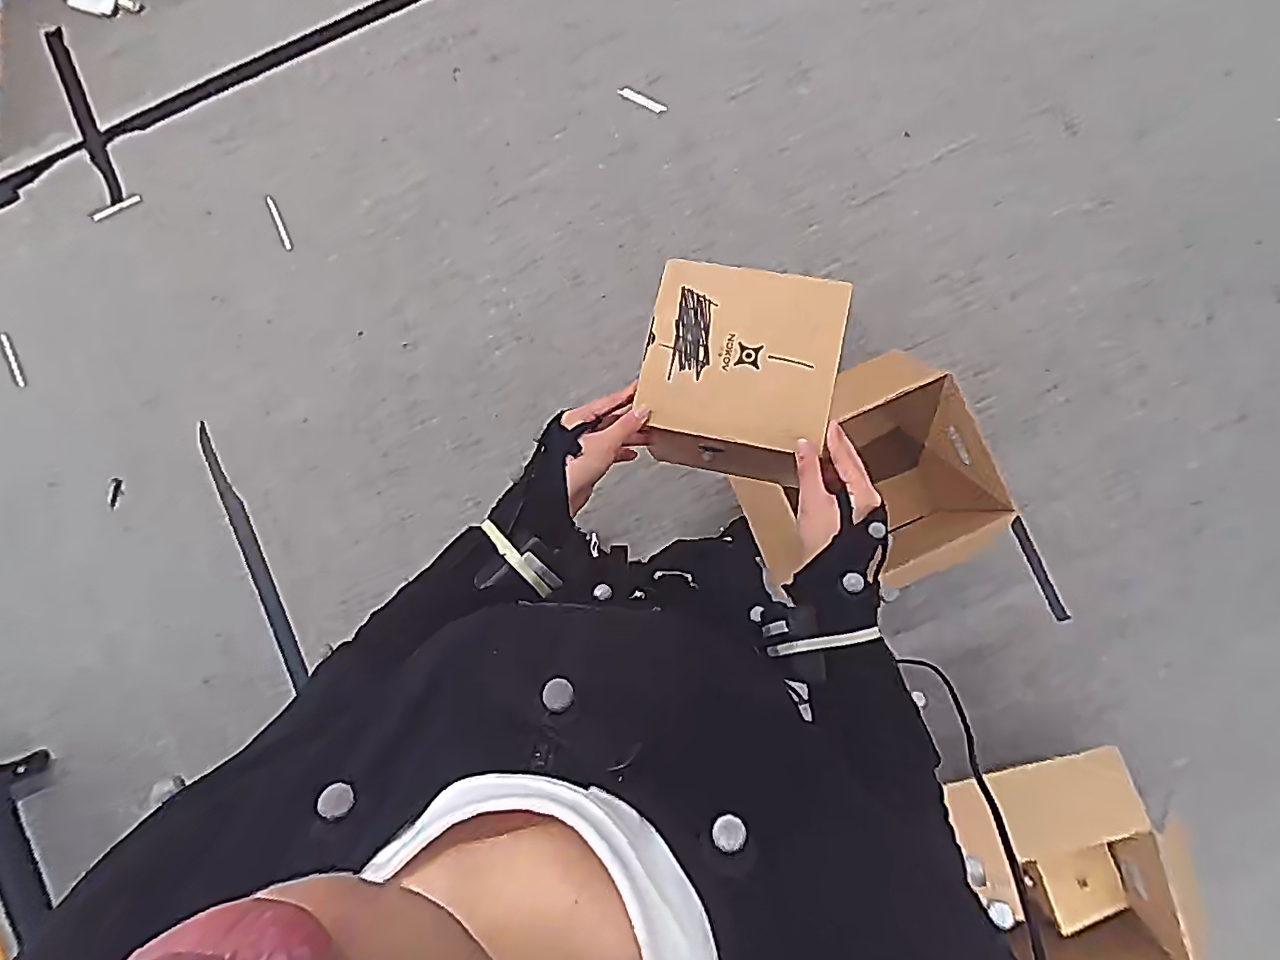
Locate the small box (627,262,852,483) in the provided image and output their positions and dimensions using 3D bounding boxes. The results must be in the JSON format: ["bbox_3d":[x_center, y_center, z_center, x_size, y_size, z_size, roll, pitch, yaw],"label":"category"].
[{"bbox_3d":[0.101,-0.099,0.563,0.179,0.176,0.168,11,83,11],"label":"small box"}]
